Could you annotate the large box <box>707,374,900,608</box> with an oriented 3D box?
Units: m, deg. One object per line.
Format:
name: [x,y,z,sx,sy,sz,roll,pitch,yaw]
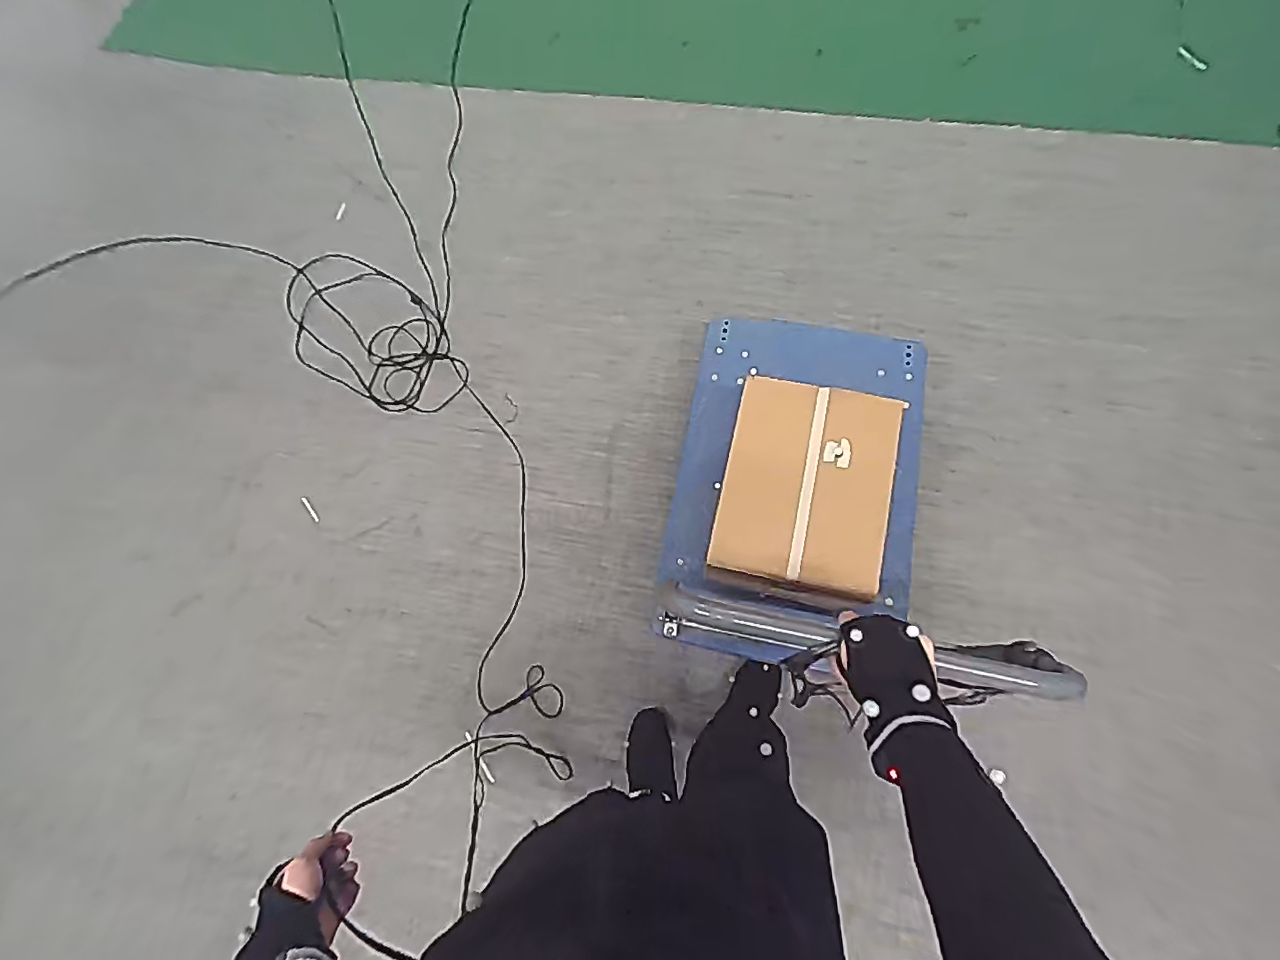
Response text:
large box: [0.333,0.041,1.174,0.320,0.320,0.408,13,75,8]
